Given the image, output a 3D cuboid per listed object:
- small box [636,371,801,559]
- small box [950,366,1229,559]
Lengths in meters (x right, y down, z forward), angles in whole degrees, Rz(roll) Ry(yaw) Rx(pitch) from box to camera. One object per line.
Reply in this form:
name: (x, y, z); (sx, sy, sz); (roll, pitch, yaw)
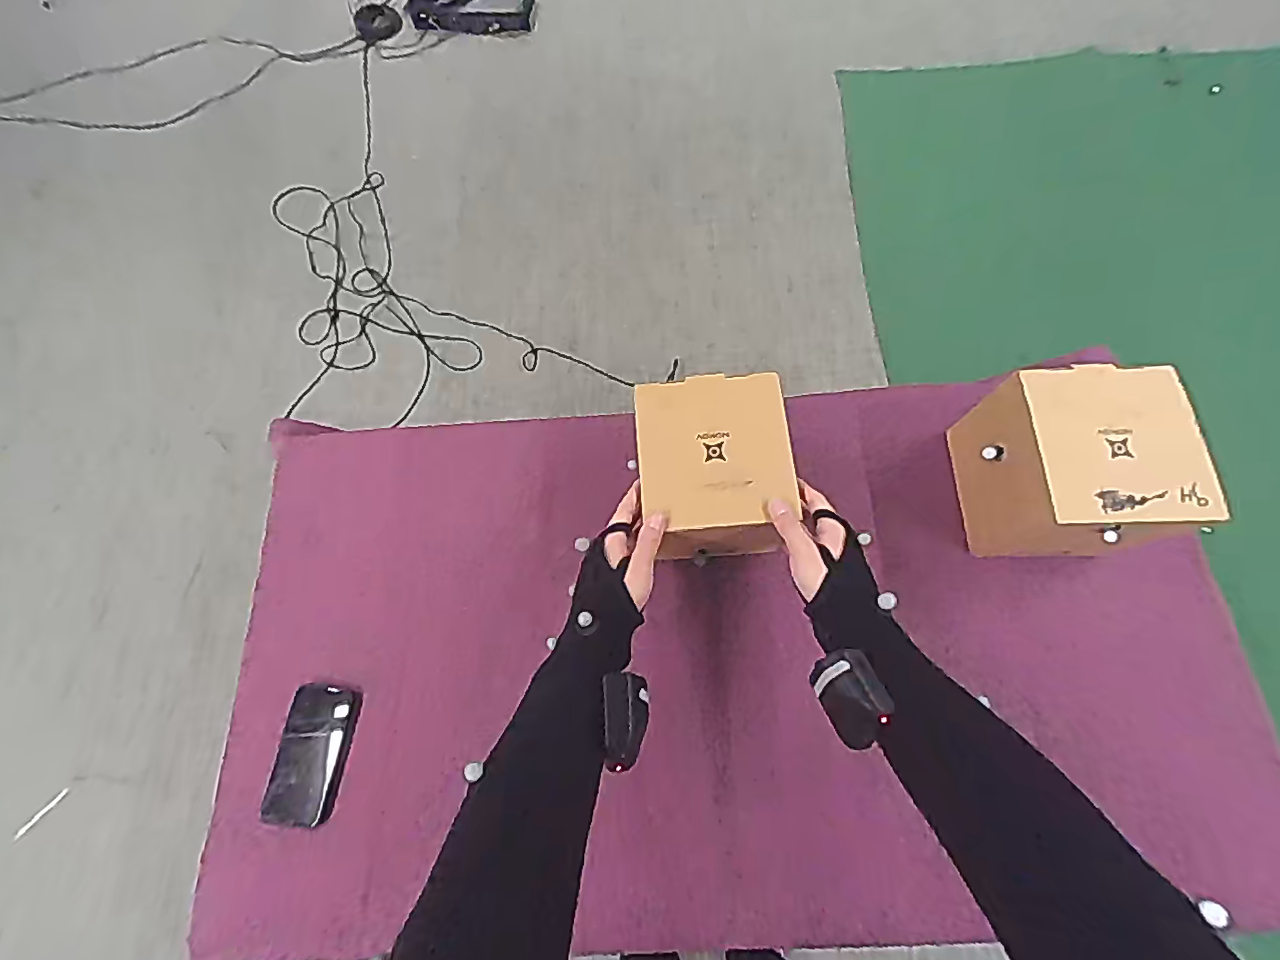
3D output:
small box: (0.082, -0.010, 0.654); (0.168, 0.176, 0.179); (-4, 71, 2)
small box: (0.493, -0.013, 0.630); (0.168, 0.176, 0.179); (-1, 70, 4)
